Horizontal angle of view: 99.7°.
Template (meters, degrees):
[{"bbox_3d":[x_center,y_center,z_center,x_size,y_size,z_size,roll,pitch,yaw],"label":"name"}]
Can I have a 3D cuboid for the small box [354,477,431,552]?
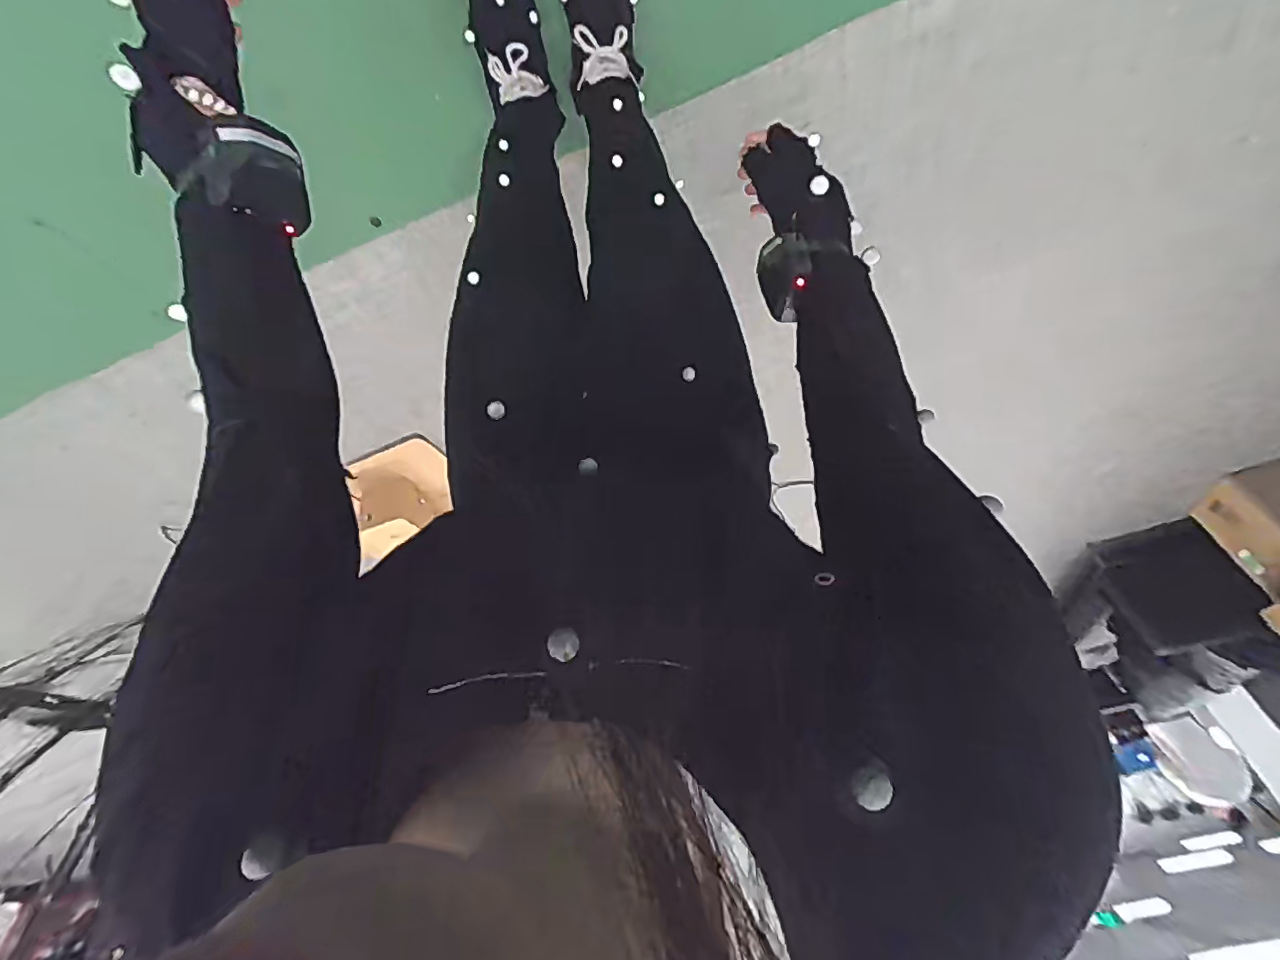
[{"bbox_3d":[-0.832,0.117,1.838,0.179,0.176,0.168,-19,145,8],"label":"small box"}]
